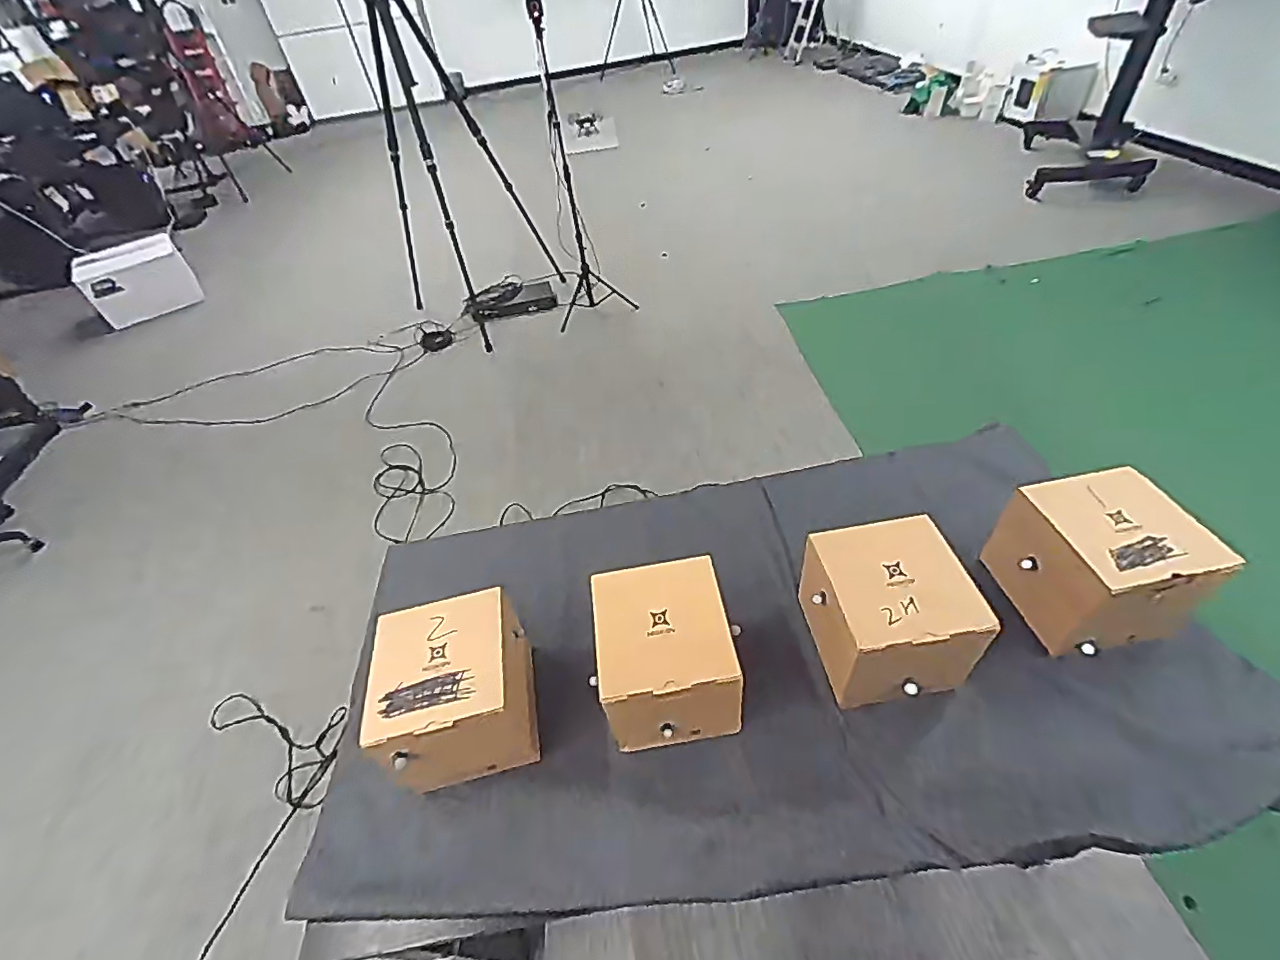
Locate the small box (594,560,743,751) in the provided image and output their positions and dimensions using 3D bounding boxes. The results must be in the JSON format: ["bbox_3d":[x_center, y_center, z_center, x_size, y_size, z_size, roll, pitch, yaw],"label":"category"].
[{"bbox_3d":[0.033,0.235,0.726,0.168,0.176,0.179,-9,46,-1],"label":"small box"}]

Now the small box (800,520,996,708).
[{"bbox_3d":[0.327,0.182,0.733,0.168,0.176,0.179,-9,46,0],"label":"small box"}]

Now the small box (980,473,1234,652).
[{"bbox_3d":[0.619,0.121,0.749,0.168,0.176,0.179,-10,45,-1],"label":"small box"}]
